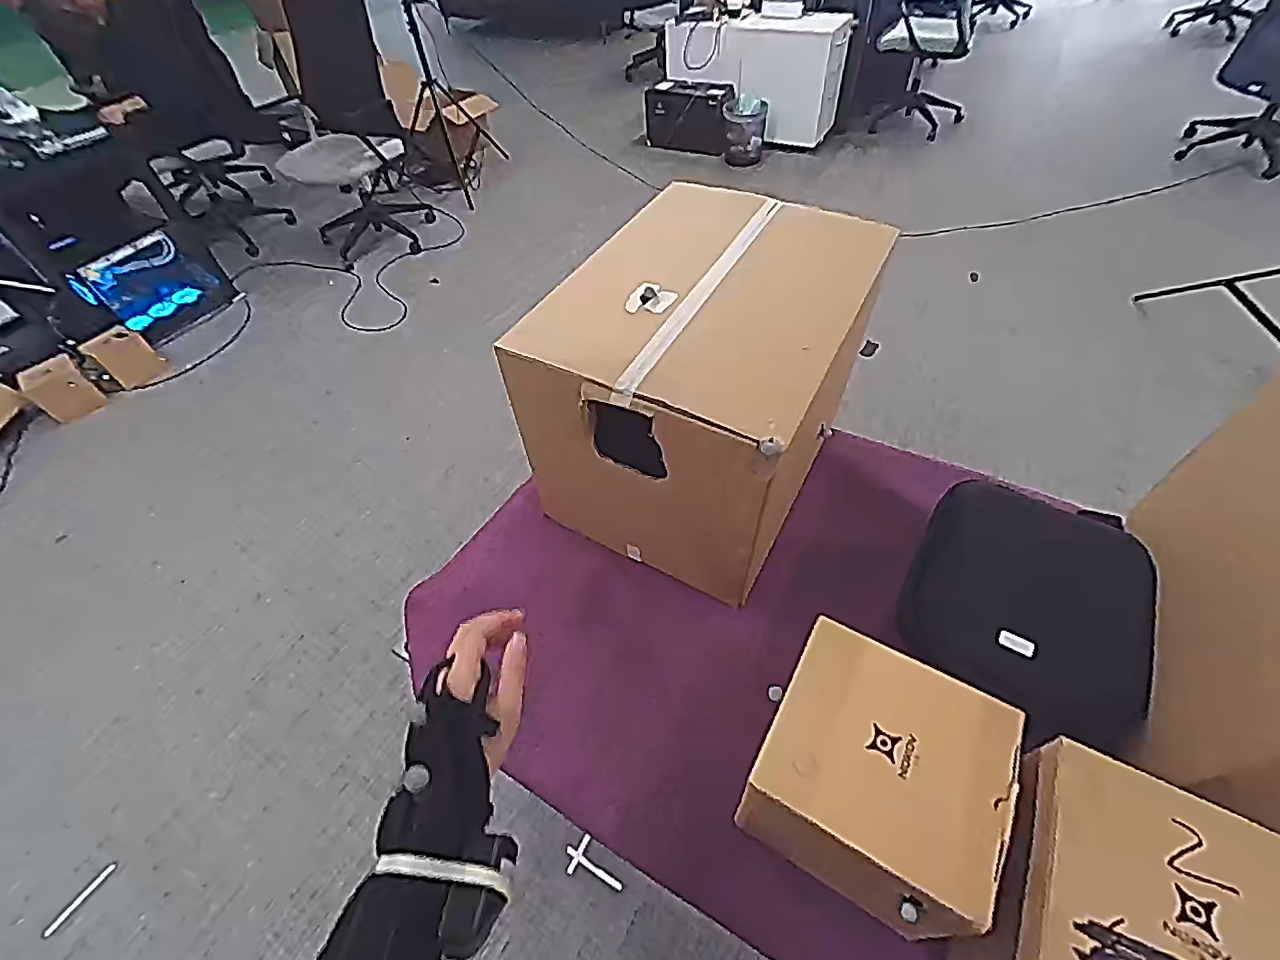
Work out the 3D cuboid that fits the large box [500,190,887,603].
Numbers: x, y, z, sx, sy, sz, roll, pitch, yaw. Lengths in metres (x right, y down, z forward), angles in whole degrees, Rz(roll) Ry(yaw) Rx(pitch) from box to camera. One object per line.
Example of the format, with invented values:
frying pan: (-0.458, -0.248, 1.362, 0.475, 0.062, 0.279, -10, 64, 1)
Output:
large box: (0.085, -0.119, 0.726, 0.320, 0.320, 0.408, 22, 58, 19)
